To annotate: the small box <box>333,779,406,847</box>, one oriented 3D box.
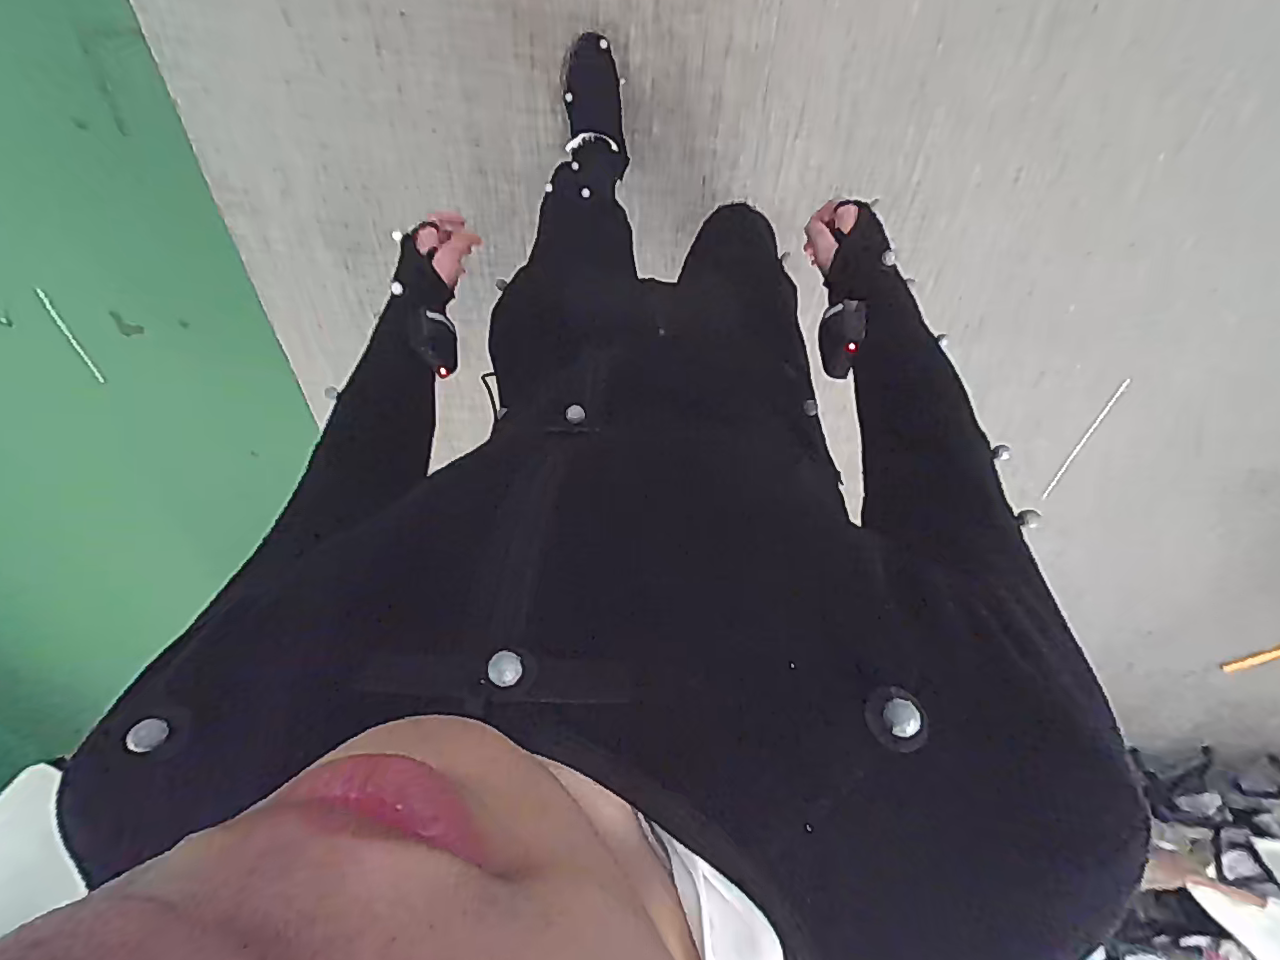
[{"bbox_3d":[-0.995,1.237,2.007,0.168,0.176,0.179,2,132,1],"label":"small box"}]
